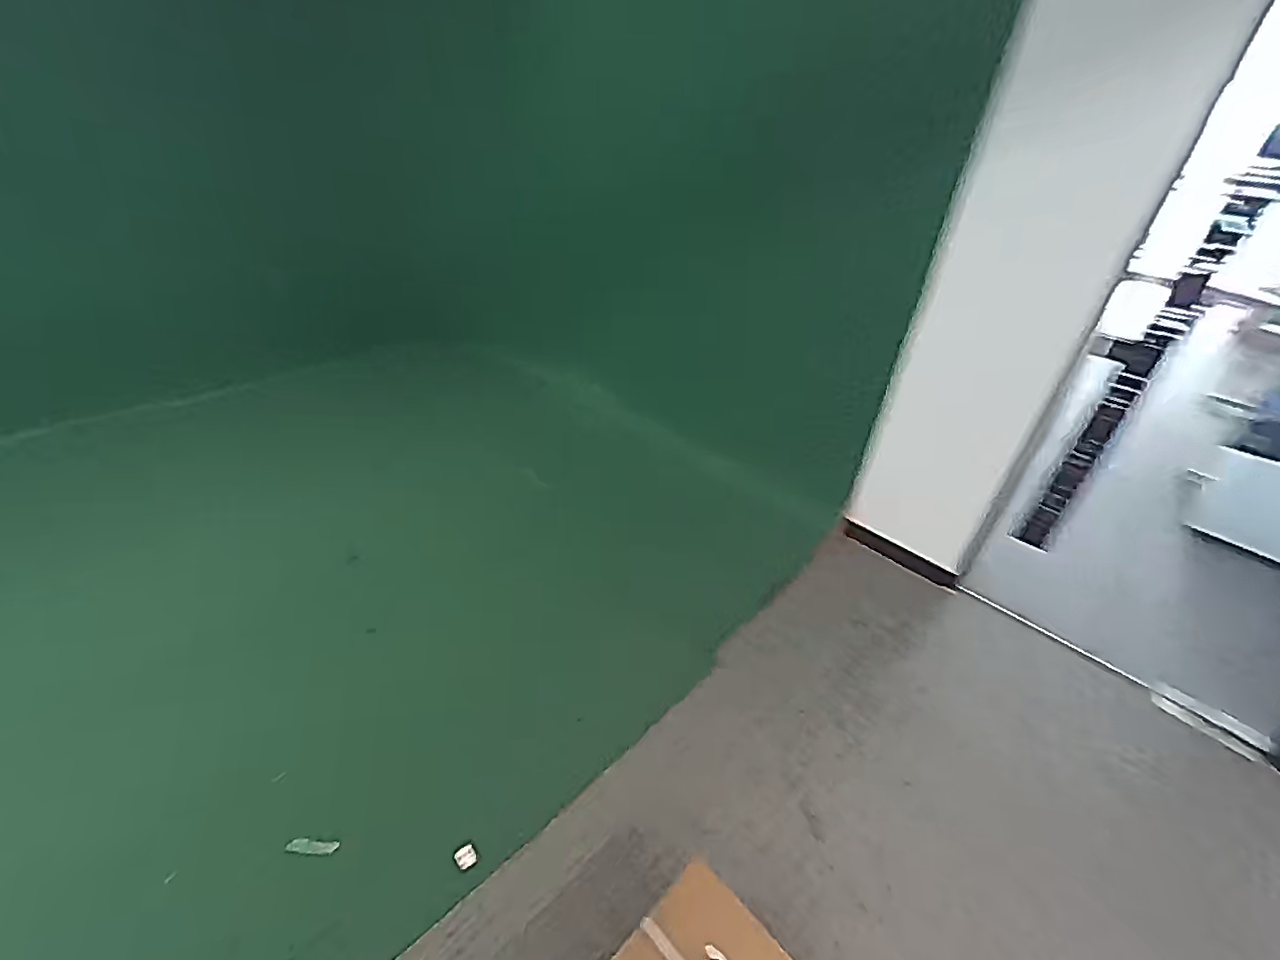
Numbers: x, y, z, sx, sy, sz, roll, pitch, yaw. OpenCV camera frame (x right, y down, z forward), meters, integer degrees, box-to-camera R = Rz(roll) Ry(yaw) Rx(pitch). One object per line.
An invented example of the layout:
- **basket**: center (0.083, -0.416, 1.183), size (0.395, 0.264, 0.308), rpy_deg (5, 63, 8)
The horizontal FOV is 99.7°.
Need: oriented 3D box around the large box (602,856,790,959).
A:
- **large box**: center (0.131, 1.020, 0.978), size (0.320, 0.320, 0.408), rpy_deg (-26, 45, -36)
